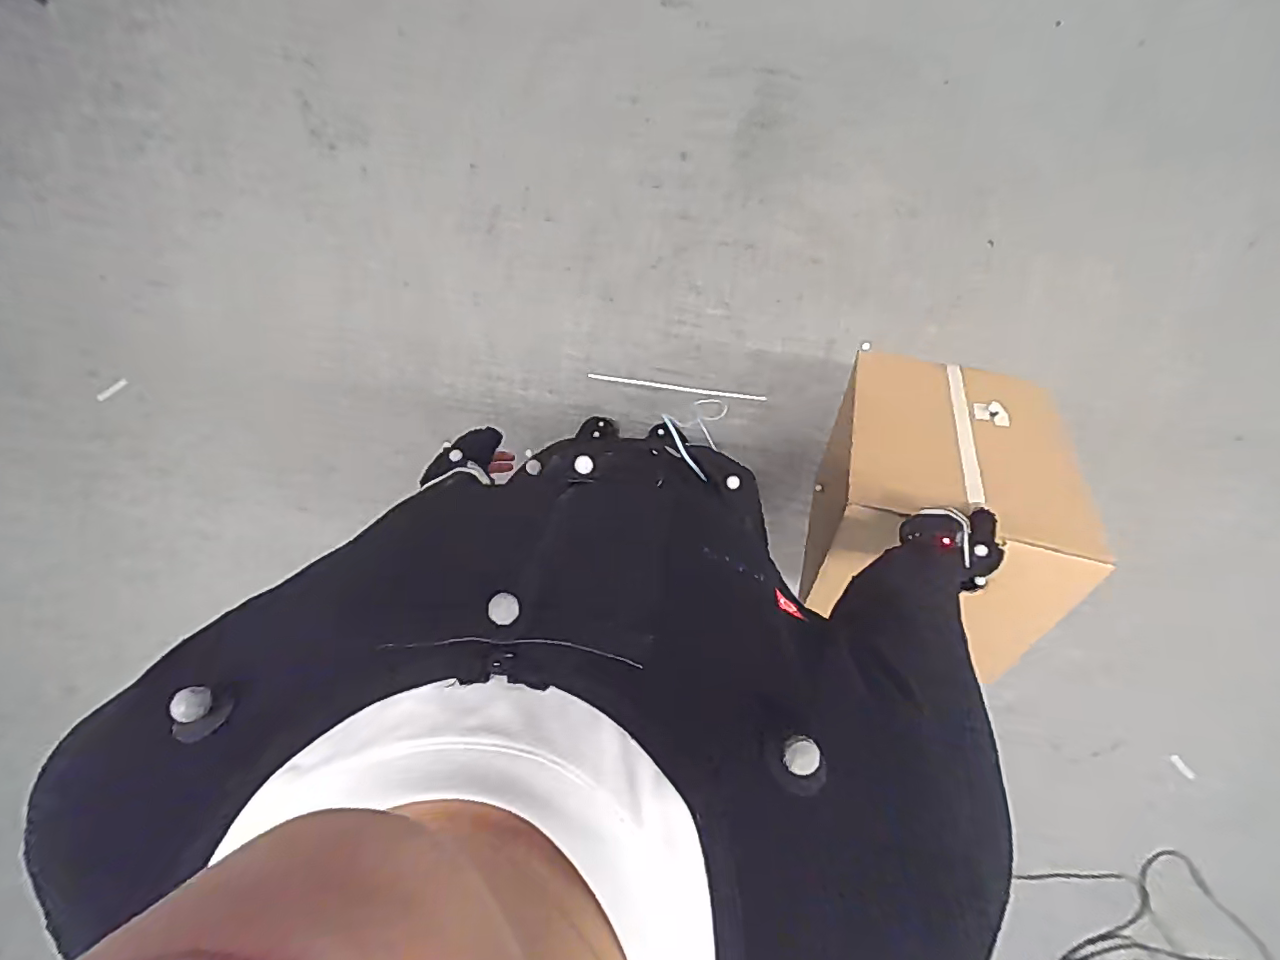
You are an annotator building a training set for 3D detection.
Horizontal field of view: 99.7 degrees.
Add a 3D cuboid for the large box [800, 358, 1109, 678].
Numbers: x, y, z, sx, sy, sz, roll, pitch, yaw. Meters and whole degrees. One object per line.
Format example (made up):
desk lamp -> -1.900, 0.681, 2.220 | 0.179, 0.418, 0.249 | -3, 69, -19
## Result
large box -> 0.473, 0.049, 0.914 | 0.320, 0.408, 0.320 | 15, 135, 11
